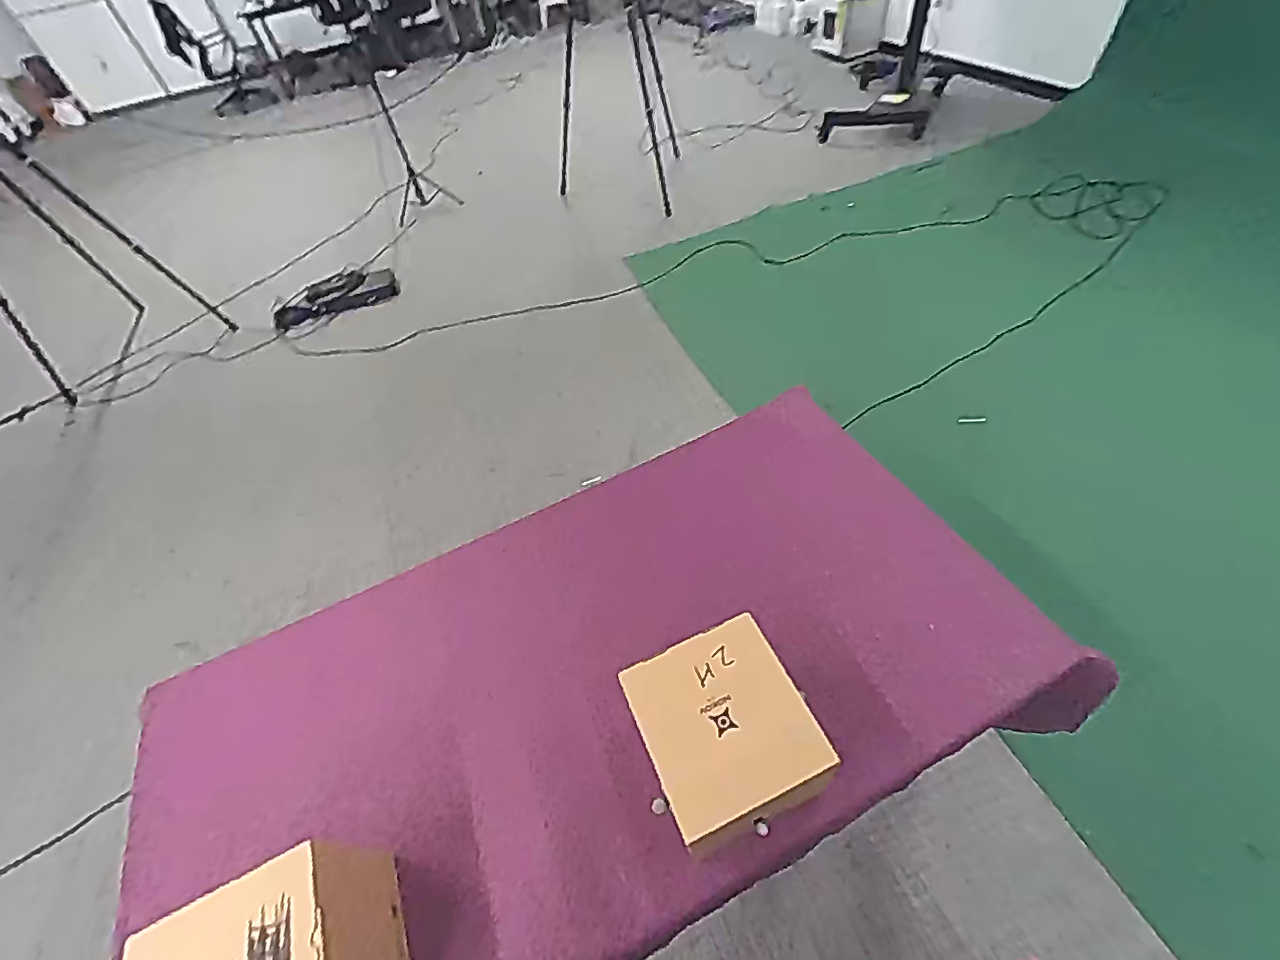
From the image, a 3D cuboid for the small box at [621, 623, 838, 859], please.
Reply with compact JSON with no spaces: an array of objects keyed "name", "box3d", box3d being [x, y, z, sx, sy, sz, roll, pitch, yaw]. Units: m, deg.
[{"name":"small box","box3d":[0.095,0.300,0.613,0.168,0.176,0.179,-22,50,-9]}]
